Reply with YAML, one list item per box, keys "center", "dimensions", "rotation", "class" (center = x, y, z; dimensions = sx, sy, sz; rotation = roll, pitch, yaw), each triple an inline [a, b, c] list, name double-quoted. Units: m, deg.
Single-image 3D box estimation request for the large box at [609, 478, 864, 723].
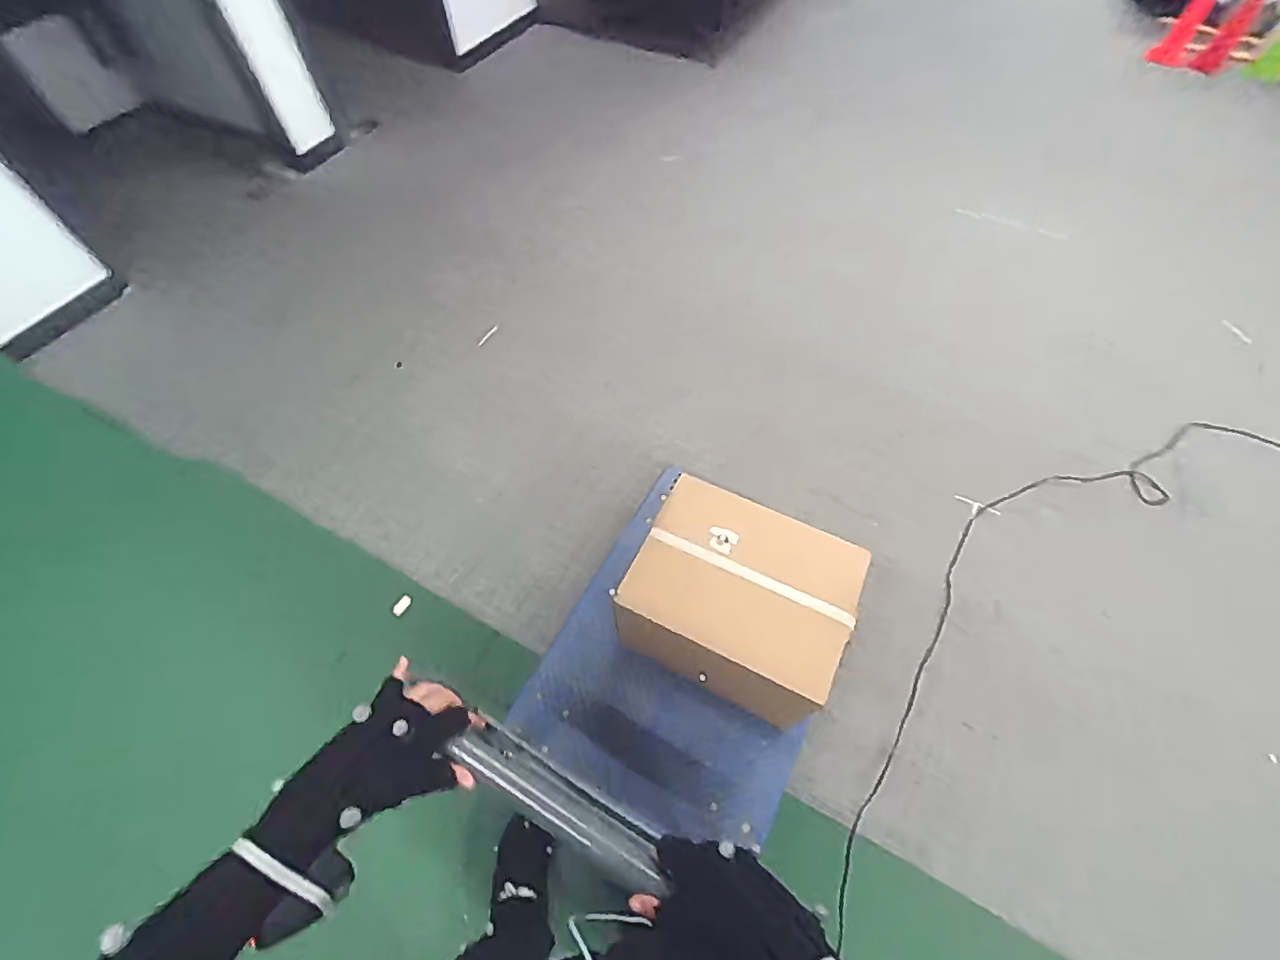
- center: [0.193, 0.259, 1.139]
  dimensions: [0.408, 0.320, 0.320]
  rotation: [23, 61, 16]
  class: "large box"
